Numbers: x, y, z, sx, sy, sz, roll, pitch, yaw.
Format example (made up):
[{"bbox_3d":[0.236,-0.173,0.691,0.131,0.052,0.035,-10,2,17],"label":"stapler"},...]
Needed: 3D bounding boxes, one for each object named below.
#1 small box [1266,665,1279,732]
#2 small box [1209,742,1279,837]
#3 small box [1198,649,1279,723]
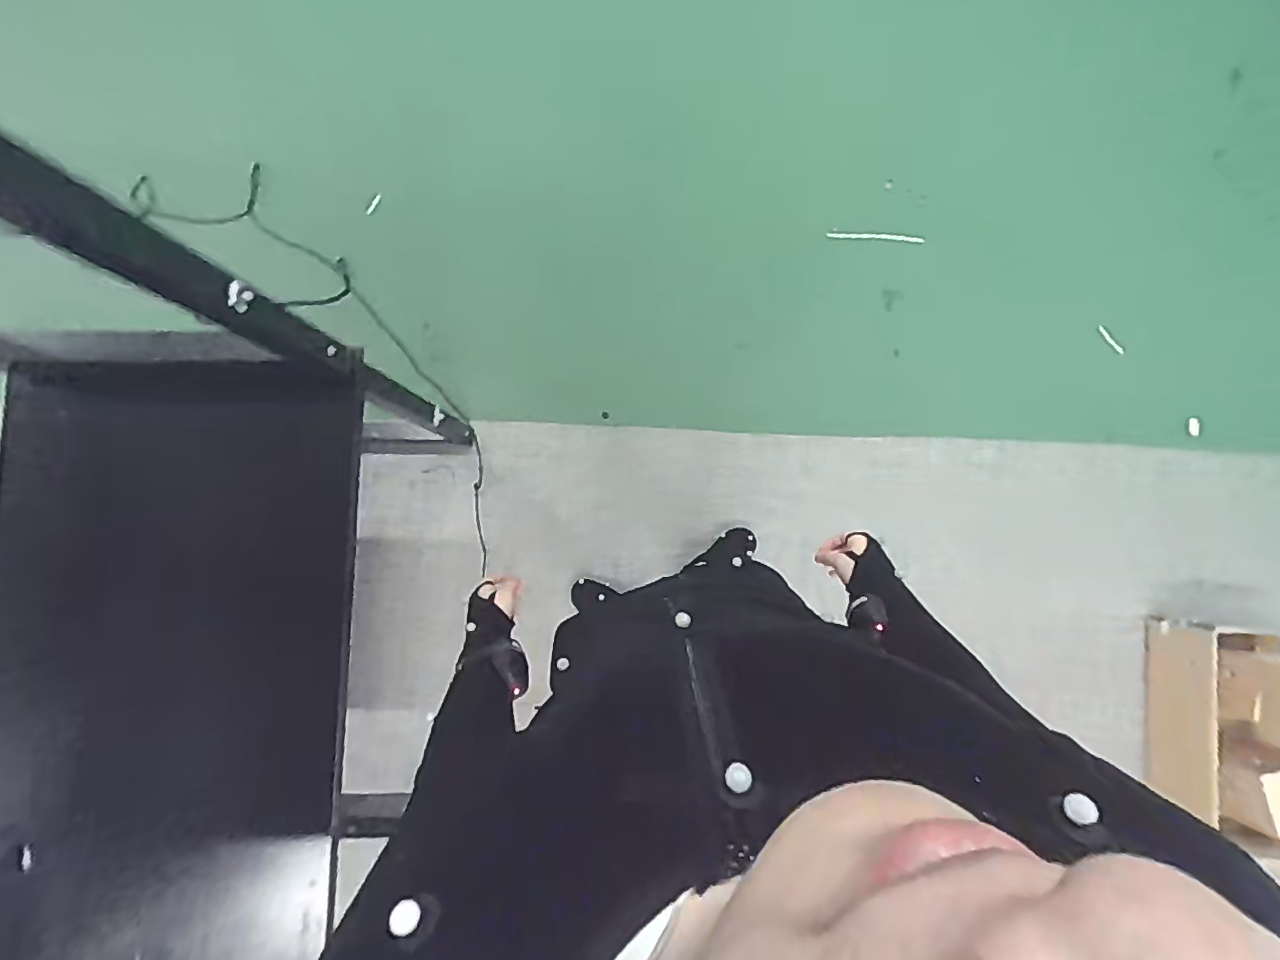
[{"bbox_3d":[1.727,0.571,1.339,0.168,0.176,0.179,7,86,-1],"label":"small box"},{"bbox_3d":[1.727,0.845,1.478,0.179,0.176,0.168,-12,85,-2],"label":"small box"},{"bbox_3d":[1.724,0.583,1.502,0.179,0.176,0.168,15,86,-1],"label":"small box"}]
